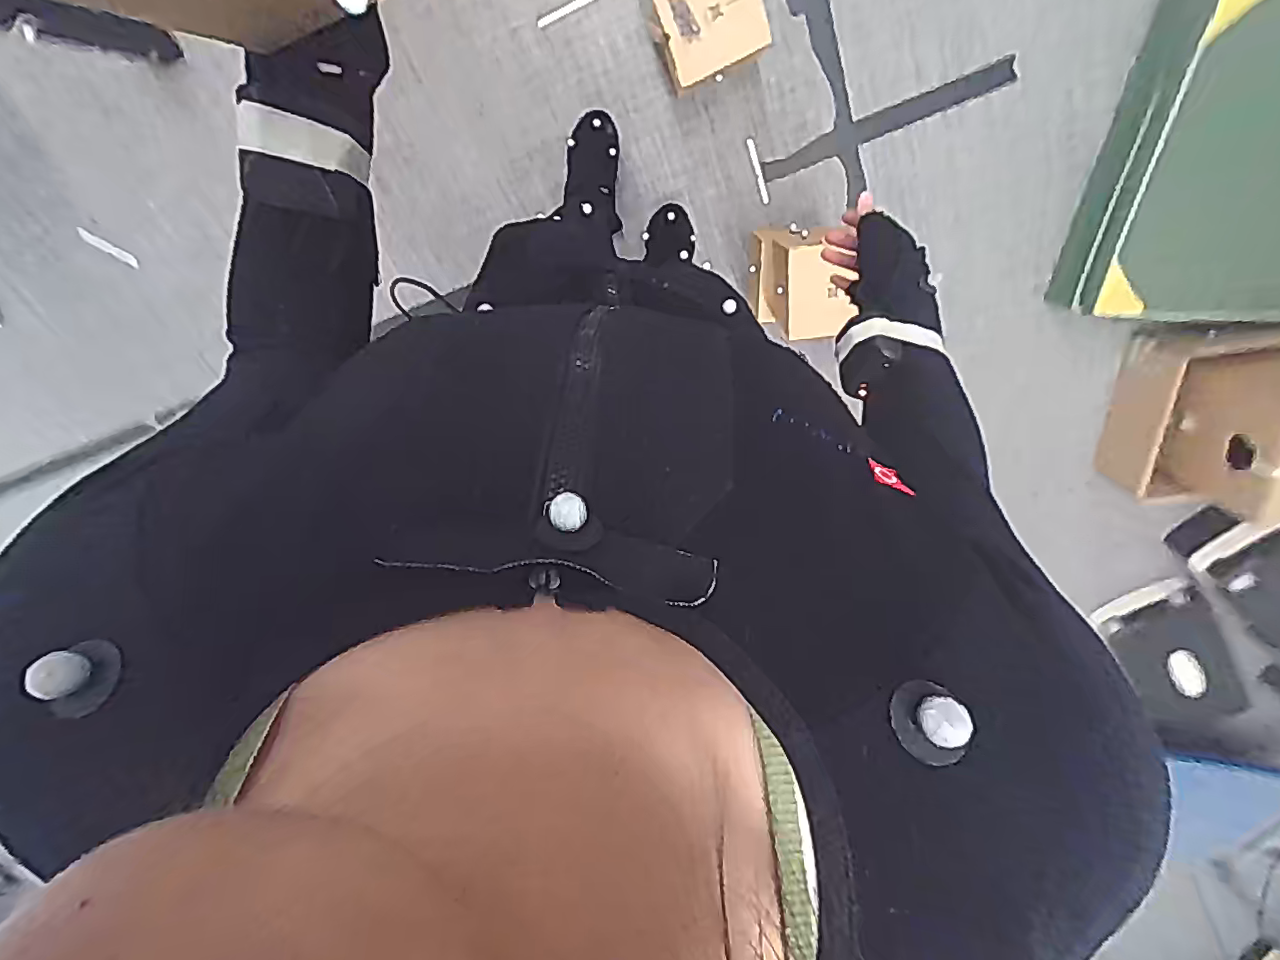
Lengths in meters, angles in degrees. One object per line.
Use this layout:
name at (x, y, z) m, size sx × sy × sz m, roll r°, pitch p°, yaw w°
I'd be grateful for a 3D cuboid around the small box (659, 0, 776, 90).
small box at (0.139, -0.867, 1.016) m, size 0.179 × 0.176 × 0.168 m, roll -19°, pitch 118°, yaw 13°

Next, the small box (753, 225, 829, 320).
small box at (0.353, -0.480, 1.235) m, size 0.168 × 0.176 × 0.179 m, roll -4°, pitch 122°, yaw 4°

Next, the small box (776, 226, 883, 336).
small box at (0.370, -0.405, 1.086) m, size 0.168 × 0.176 × 0.179 m, roll -5°, pitch 121°, yaw 6°

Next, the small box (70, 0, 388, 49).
small box at (-0.173, -0.286, 0.185) m, size 0.168 × 0.176 × 0.179 m, roll -13°, pitch 123°, yaw 10°
